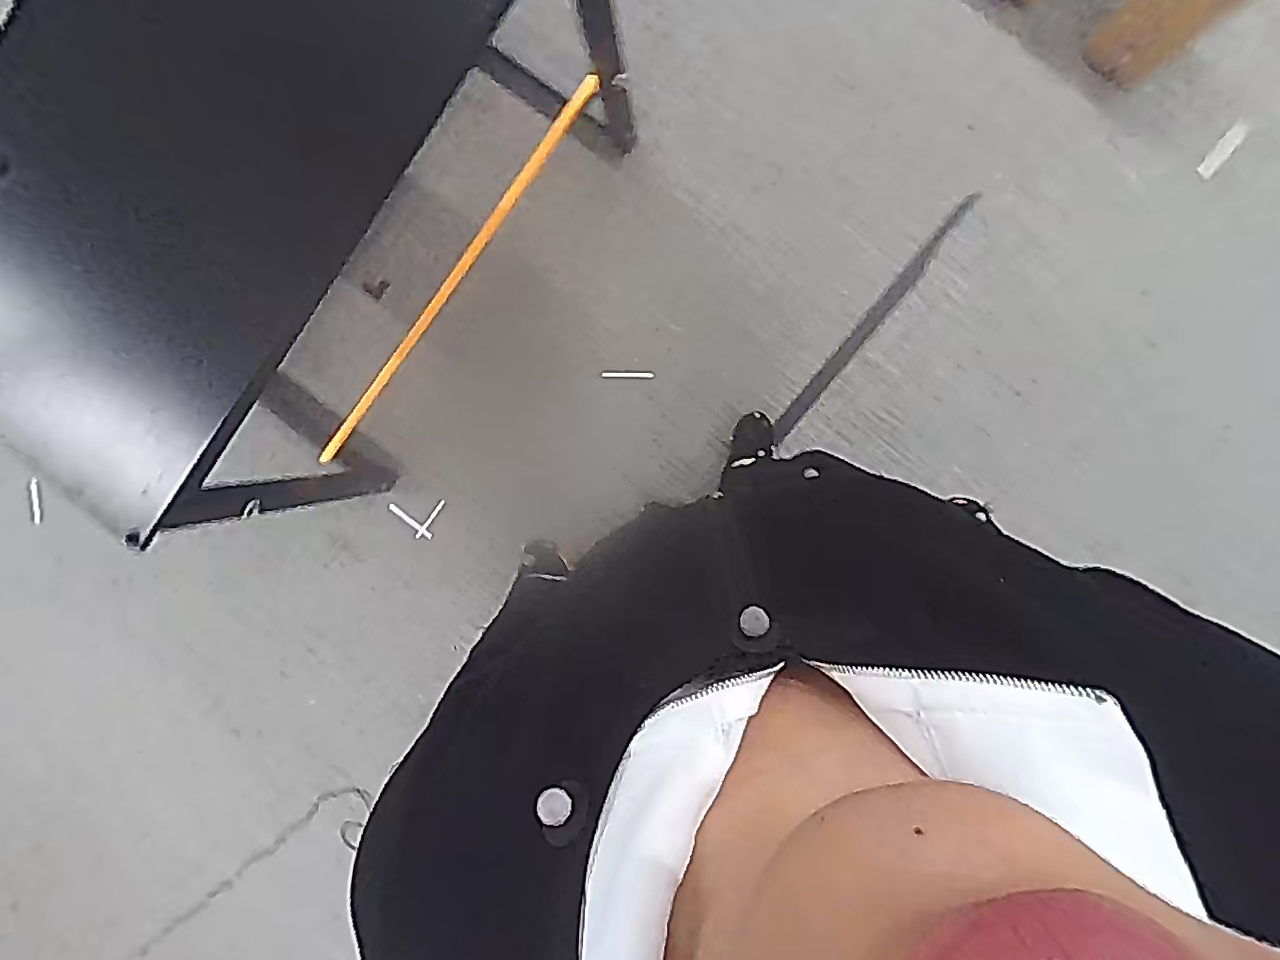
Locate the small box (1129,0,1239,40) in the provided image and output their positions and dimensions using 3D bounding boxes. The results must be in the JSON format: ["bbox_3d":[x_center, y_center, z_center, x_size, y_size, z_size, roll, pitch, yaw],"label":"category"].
[{"bbox_3d":[1.139,-1.038,1.070,0.179,0.176,0.168,37,97,0],"label":"small box"}]

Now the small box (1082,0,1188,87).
[{"bbox_3d":[1.170,-1.059,1.233,0.168,0.176,0.179,40,98,0],"label":"small box"}]
